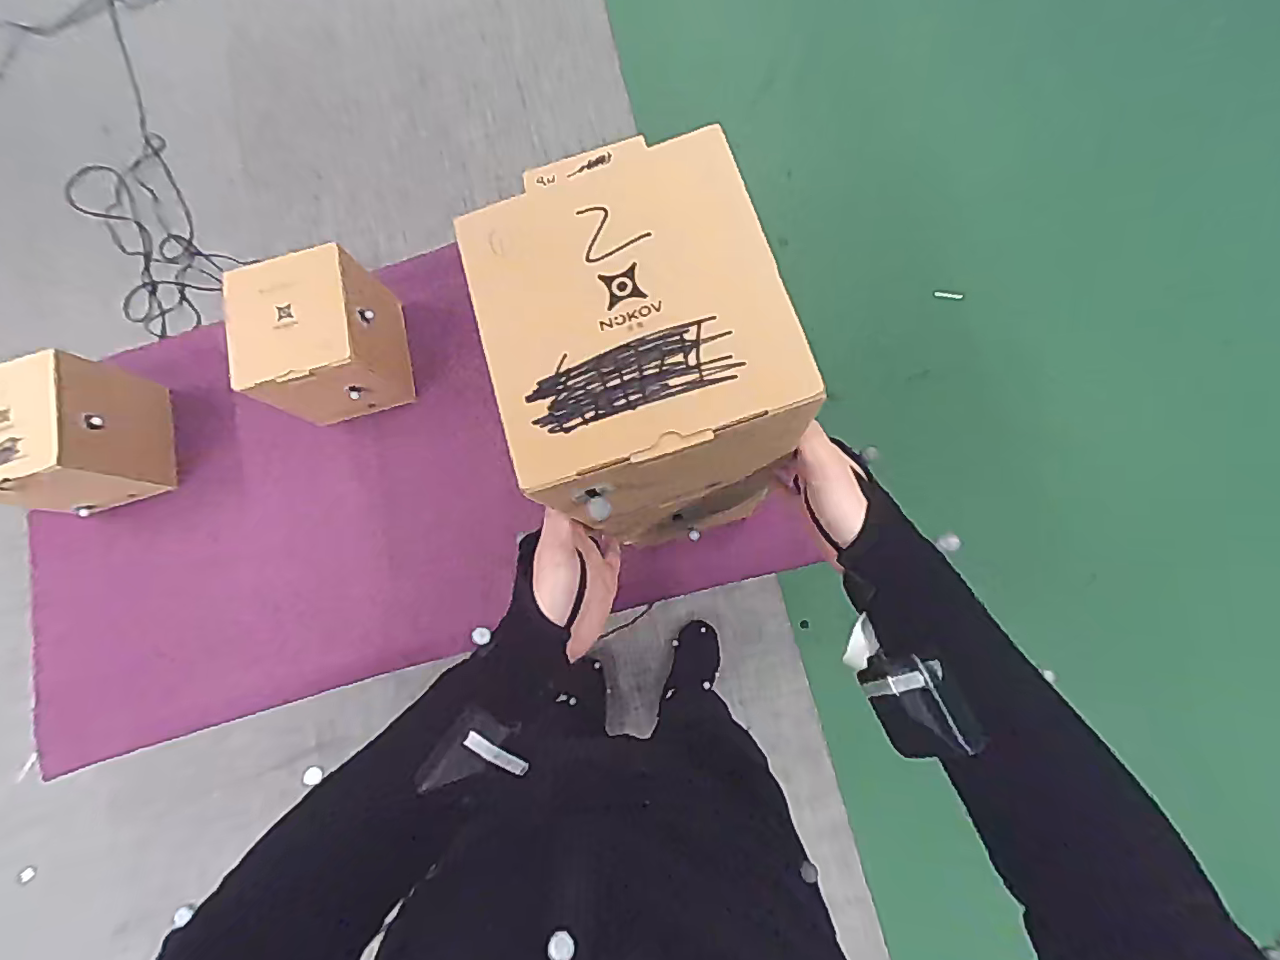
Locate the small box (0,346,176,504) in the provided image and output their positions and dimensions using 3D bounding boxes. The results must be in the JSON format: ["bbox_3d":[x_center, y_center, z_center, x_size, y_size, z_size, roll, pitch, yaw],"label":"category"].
[{"bbox_3d":[-0.841,-0.068,0.805,0.168,0.176,0.179,-15,78,3],"label":"small box"}]

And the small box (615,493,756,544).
[{"bbox_3d":[0.041,-0.026,0.697,0.168,0.176,0.179,-16,77,5],"label":"small box"}]

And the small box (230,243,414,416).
[{"bbox_3d":[-0.451,-0.204,0.789,0.168,0.176,0.179,-13,78,3],"label":"small box"}]

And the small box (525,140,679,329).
[{"bbox_3d":[-0.043,-0.323,0.762,0.168,0.176,0.179,-15,81,4],"label":"small box"}]

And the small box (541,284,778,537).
[{"bbox_3d":[0.020,-0.054,0.538,0.168,0.176,0.179,-19,78,3],"label":"small box"}]
